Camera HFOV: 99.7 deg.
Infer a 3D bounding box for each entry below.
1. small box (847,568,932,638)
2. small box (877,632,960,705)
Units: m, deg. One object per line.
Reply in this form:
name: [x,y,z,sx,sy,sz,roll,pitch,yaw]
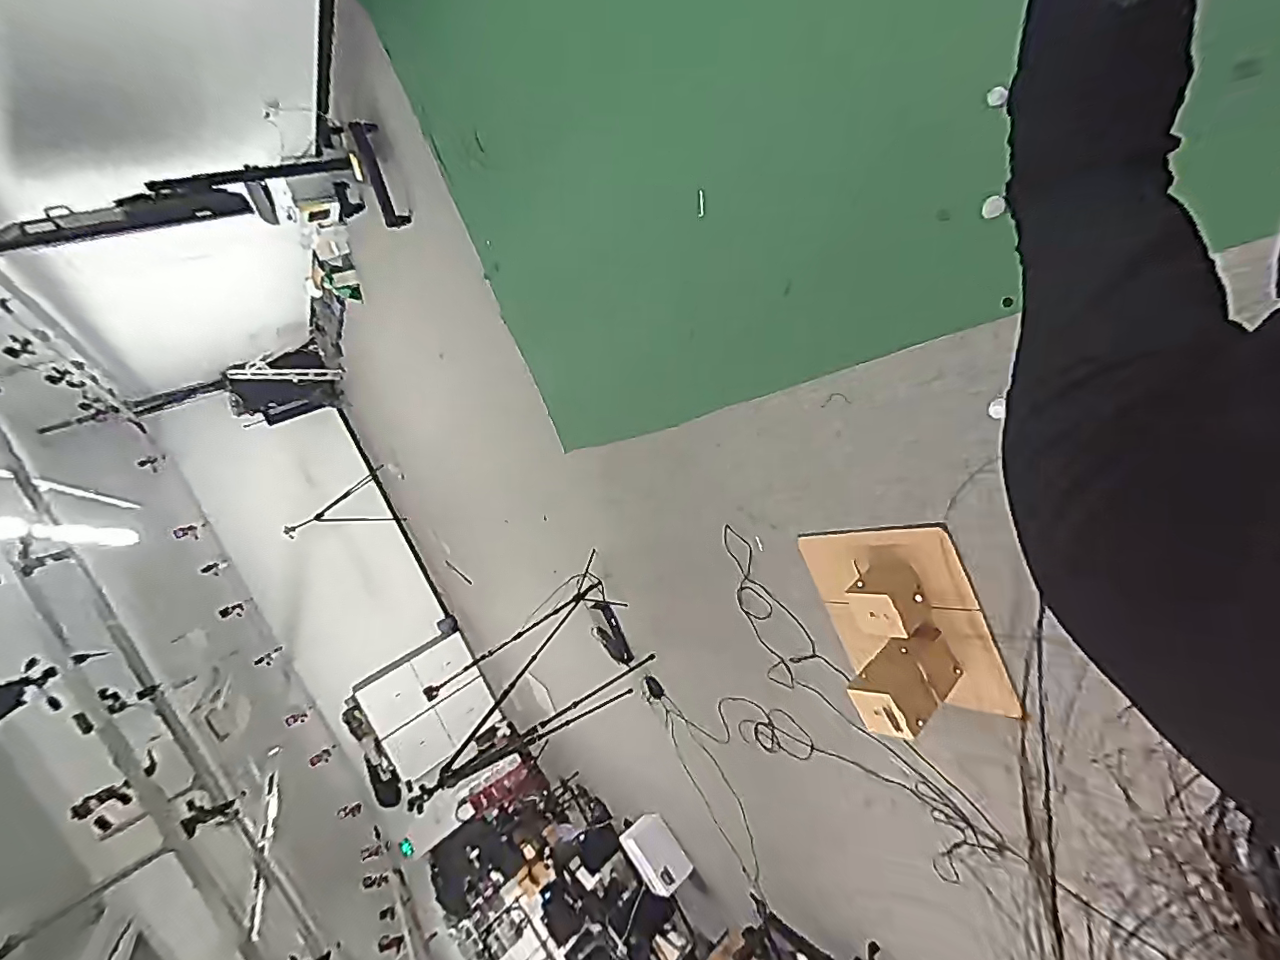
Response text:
small box: [0.843,0.409,1.823,0.179,0.176,0.168,-17,102,58]
small box: [0.953,0.634,1.838,0.179,0.176,0.168,-24,94,59]
